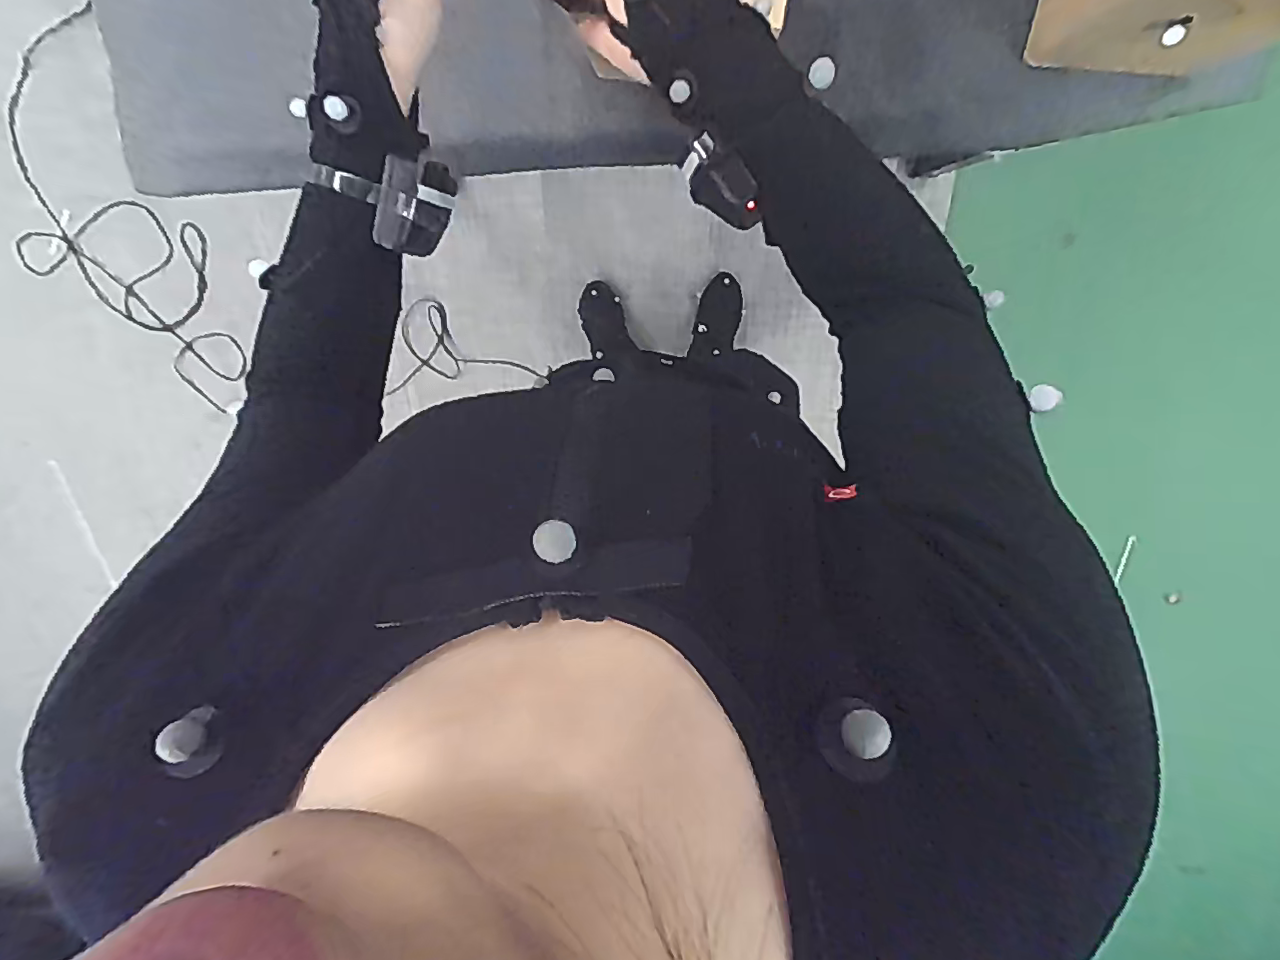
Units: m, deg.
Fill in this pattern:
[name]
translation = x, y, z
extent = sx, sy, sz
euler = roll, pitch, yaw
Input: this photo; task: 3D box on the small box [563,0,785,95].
[small box]
translation = 0.043, -0.462, 0.472
extent = 0.179, 0.176, 0.168
euler = 9, 113, 3
